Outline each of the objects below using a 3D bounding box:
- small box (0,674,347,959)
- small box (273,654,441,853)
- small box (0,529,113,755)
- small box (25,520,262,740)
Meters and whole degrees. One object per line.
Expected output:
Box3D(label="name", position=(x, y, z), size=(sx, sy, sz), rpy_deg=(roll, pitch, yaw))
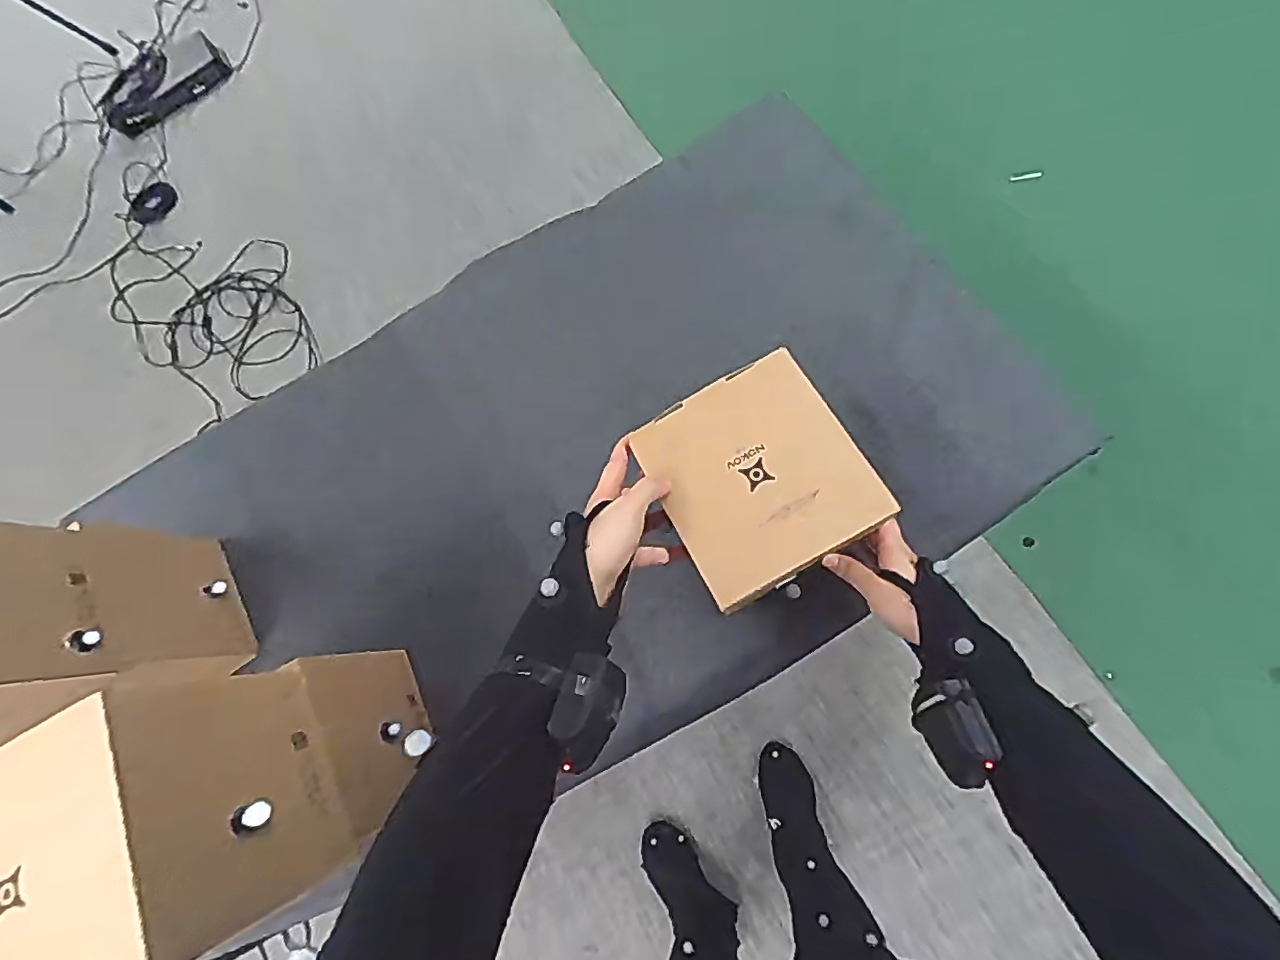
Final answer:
Box3D(label="small box", position=(-0.347, 0.258, 0.389), size=(0.179, 0.176, 0.168), rpy_deg=(-30, 73, 3))
Box3D(label="small box", position=(-0.329, 0.291, 0.548), size=(0.179, 0.176, 0.168), rpy_deg=(-29, 72, 3))
Box3D(label="small box", position=(-0.618, 0.148, 0.470), size=(0.179, 0.176, 0.168), rpy_deg=(-34, 74, 2))
Box3D(label="small box", position=(-0.597, 0.174, 0.632), size=(0.168, 0.176, 0.179), rpy_deg=(-34, 73, 1))
